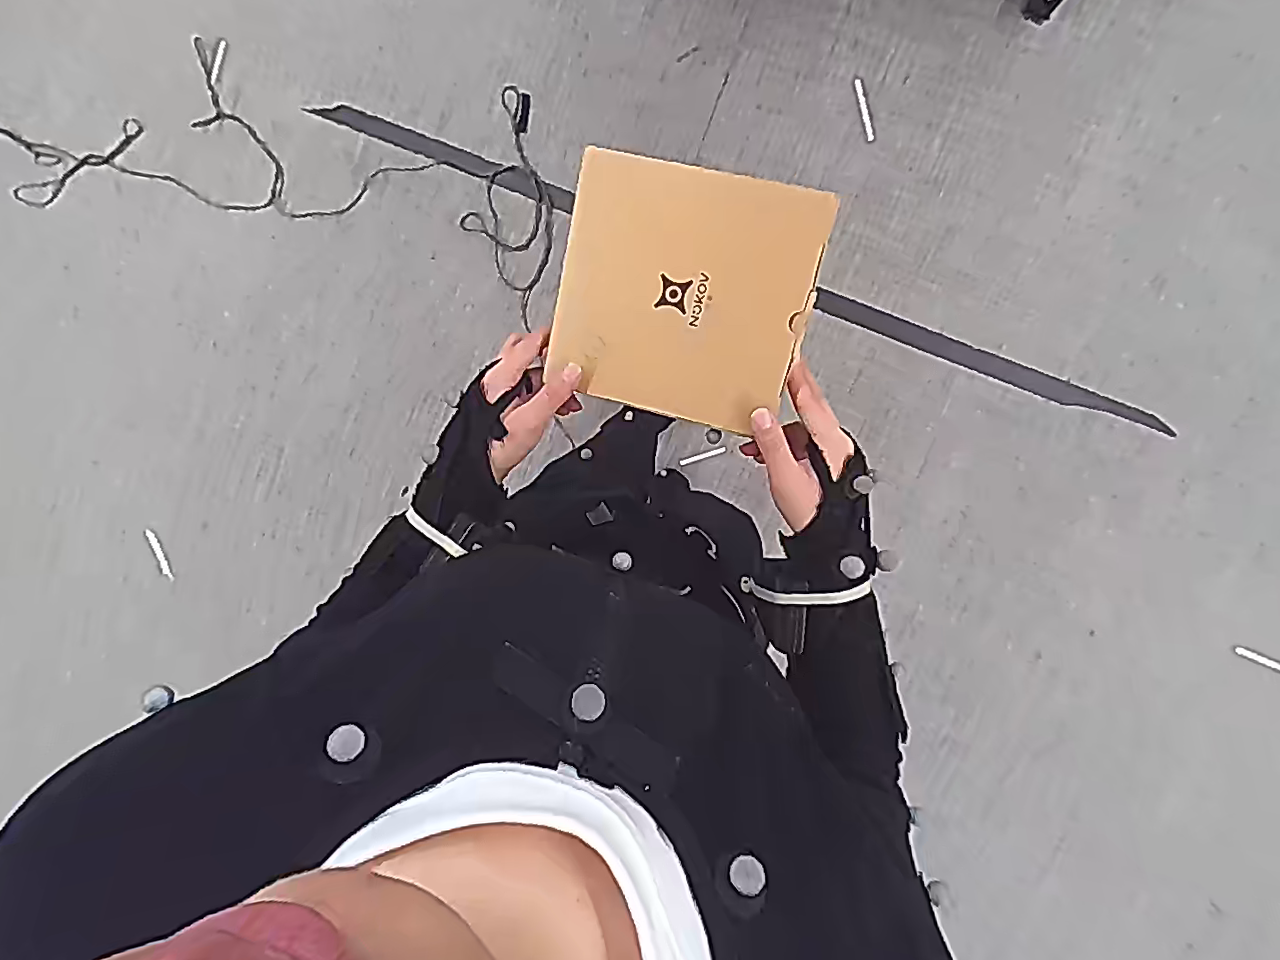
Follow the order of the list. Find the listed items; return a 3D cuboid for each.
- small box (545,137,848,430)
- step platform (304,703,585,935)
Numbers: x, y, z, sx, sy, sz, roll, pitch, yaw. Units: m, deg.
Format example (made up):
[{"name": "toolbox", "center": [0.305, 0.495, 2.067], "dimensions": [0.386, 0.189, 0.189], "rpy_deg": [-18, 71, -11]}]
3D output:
[{"name": "small box", "center": [0.045, -0.147, 0.448], "dimensions": [0.179, 0.176, 0.168], "rpy_deg": [15, 103, 6]}, {"name": "step platform", "center": [-0.502, 0.869, 1.404], "dimensions": [0.684, 0.204, 0.286], "rpy_deg": [22, 98, 4]}]
